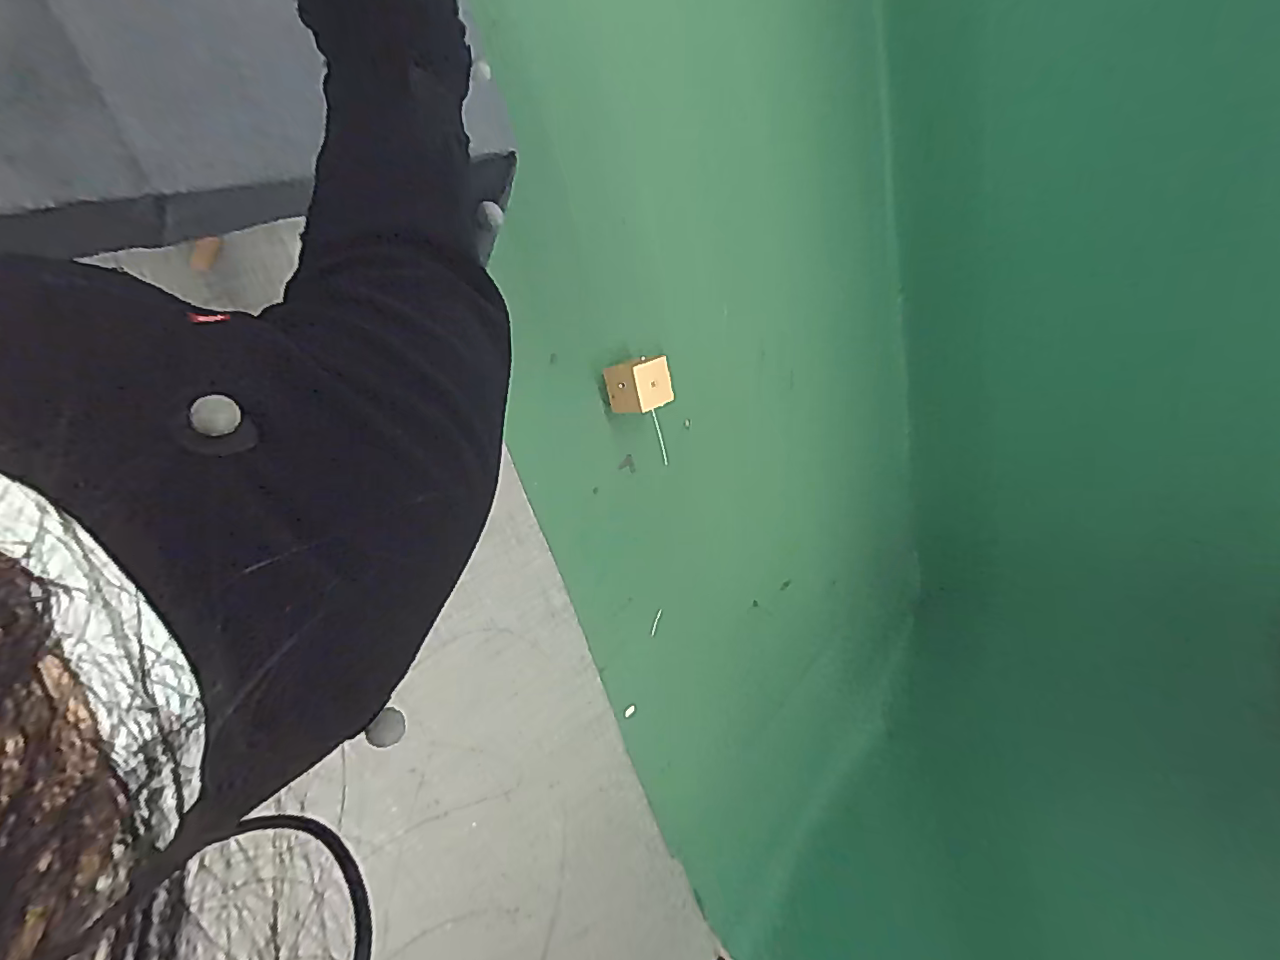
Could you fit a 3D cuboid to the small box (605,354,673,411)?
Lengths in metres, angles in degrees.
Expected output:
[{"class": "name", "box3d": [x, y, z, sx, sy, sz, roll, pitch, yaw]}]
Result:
[{"class": "small box", "box3d": [-0.010, -0.354, 1.979, 0.179, 0.176, 0.168, -29, 115, -39]}]
